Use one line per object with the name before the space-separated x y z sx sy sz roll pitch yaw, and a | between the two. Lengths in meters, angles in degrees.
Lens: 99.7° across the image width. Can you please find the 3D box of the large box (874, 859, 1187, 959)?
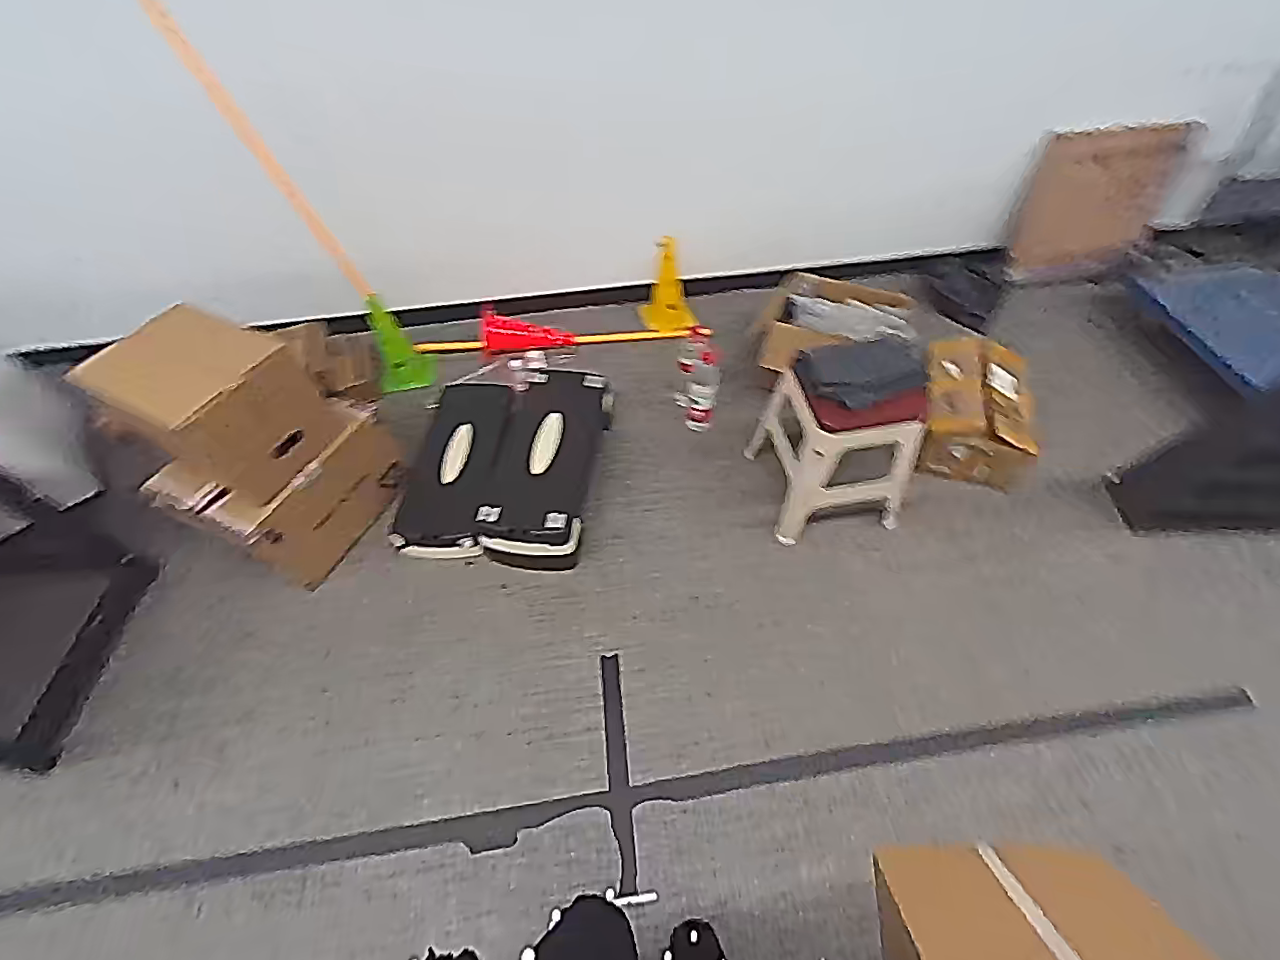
large box | 0.487 0.712 0.600 0.320 0.408 0.320 -5 88 8
